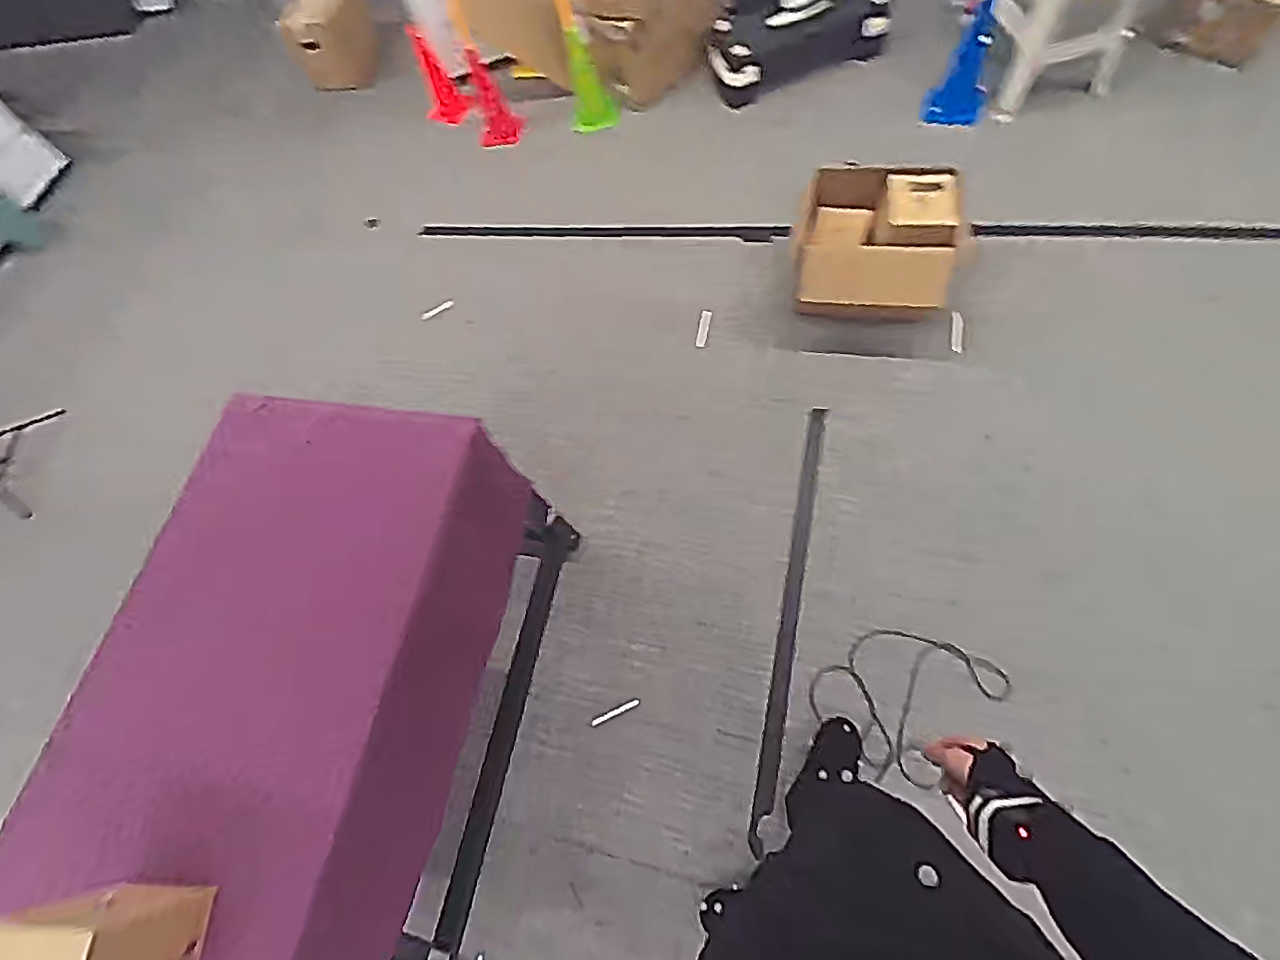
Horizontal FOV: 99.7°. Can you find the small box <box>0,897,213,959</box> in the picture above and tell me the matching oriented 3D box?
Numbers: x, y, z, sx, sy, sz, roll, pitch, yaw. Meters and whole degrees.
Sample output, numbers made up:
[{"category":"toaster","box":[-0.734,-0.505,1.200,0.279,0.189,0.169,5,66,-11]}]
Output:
[{"category":"small box","box":[-0.711,0.661,0.691,0.179,0.176,0.168,-5,67,9]}]
